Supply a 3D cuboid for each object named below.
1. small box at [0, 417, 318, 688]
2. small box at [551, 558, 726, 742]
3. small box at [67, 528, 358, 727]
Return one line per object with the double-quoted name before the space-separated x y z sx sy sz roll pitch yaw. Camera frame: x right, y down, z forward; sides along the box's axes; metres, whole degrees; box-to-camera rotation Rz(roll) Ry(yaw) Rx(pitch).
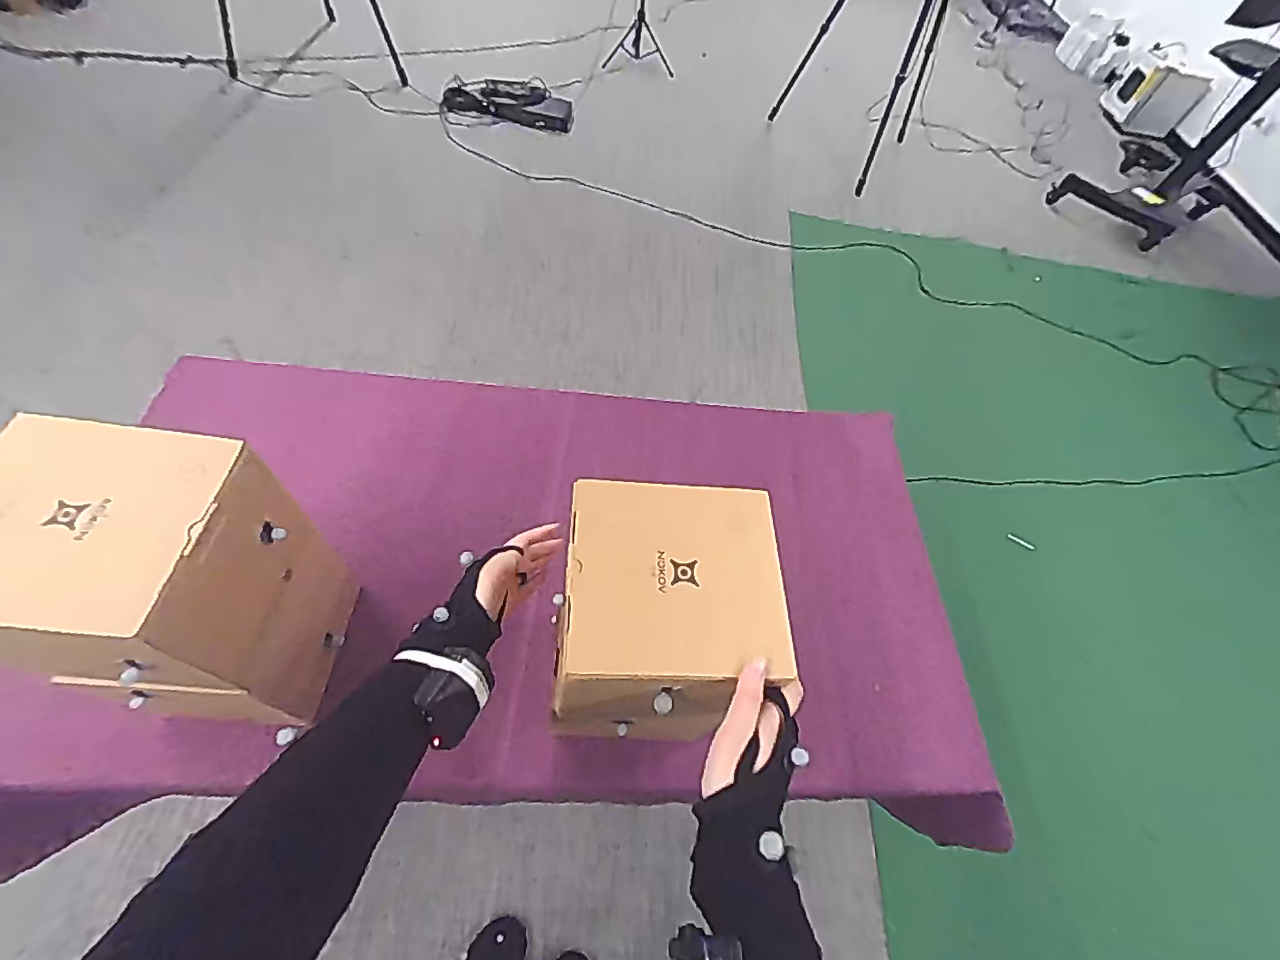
"small box" -0.416 0.071 0.464 0.179 0.176 0.168 7 56 -4
"small box" -0.007 0.207 0.638 0.179 0.176 0.168 6 57 -5
"small box" -0.439 0.160 0.600 0.168 0.176 0.179 6 56 -4
